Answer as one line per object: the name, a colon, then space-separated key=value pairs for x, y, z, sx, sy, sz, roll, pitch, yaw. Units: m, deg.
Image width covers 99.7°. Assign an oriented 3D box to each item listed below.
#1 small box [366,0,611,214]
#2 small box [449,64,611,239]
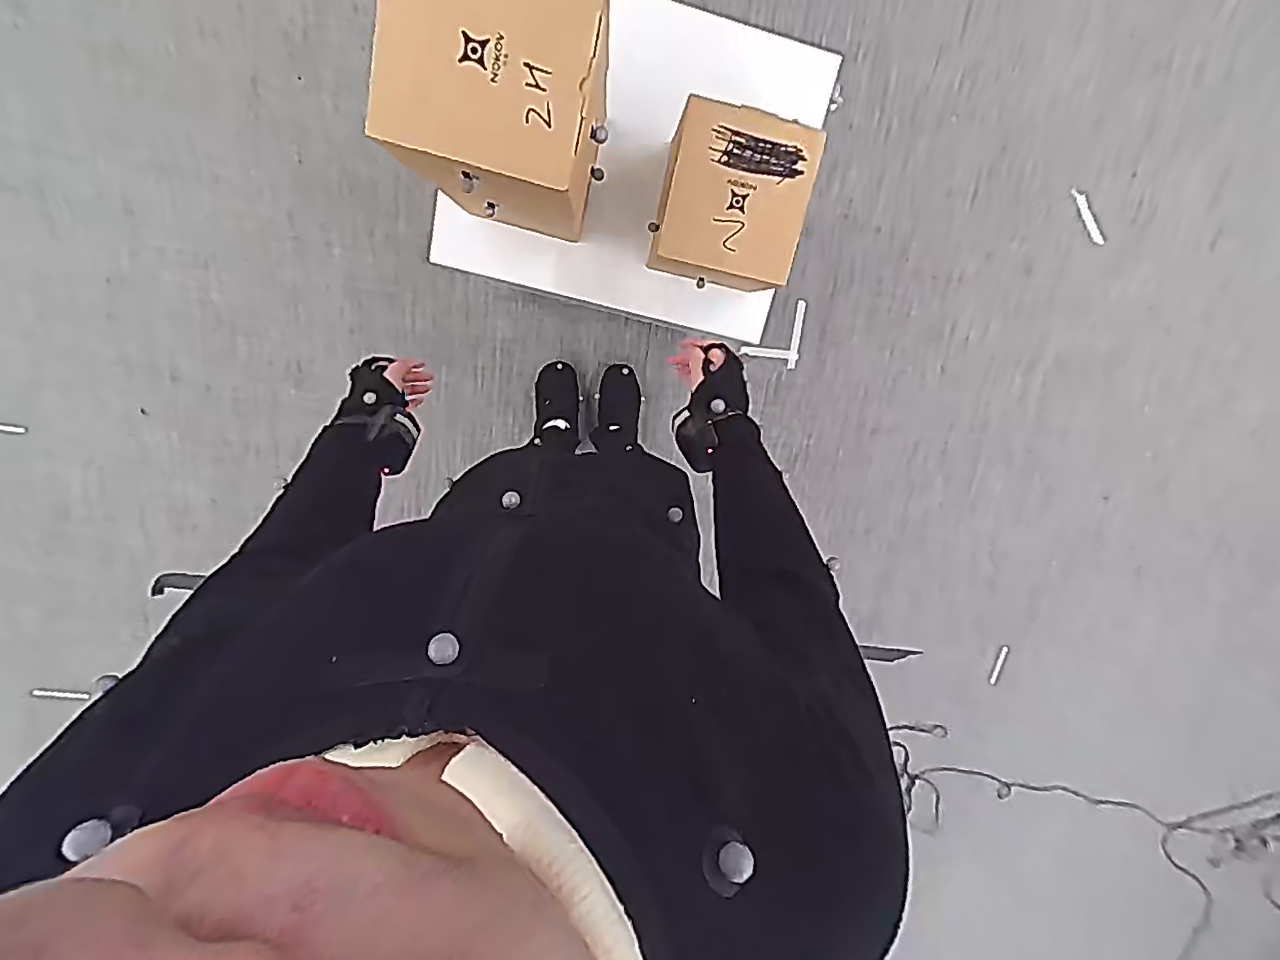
small box: x=-0.130 y=-0.370 z=0.515 sx=0.179 sy=0.176 sz=0.168 roll=12 pitch=106 yaw=-8
small box: x=-0.138 y=-0.421 z=0.671 sx=0.168 sy=0.176 sz=0.179 roll=13 pitch=104 yaw=-7
